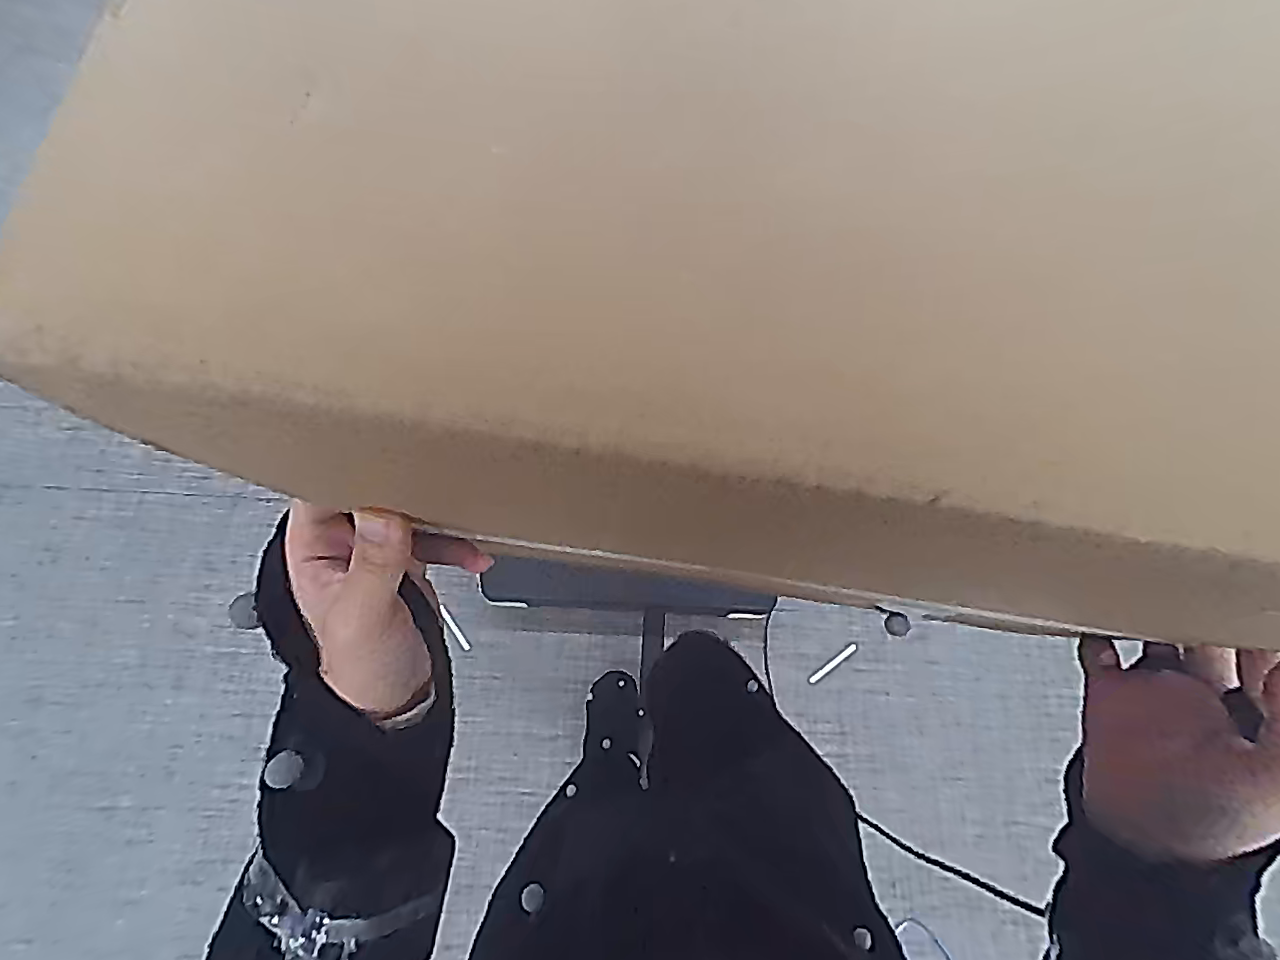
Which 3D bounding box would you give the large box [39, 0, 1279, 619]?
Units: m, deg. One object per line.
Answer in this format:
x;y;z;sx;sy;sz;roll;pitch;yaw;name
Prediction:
0.097;-0.117;0.276;0.408;0.320;0.320;8;78;-4;large box
